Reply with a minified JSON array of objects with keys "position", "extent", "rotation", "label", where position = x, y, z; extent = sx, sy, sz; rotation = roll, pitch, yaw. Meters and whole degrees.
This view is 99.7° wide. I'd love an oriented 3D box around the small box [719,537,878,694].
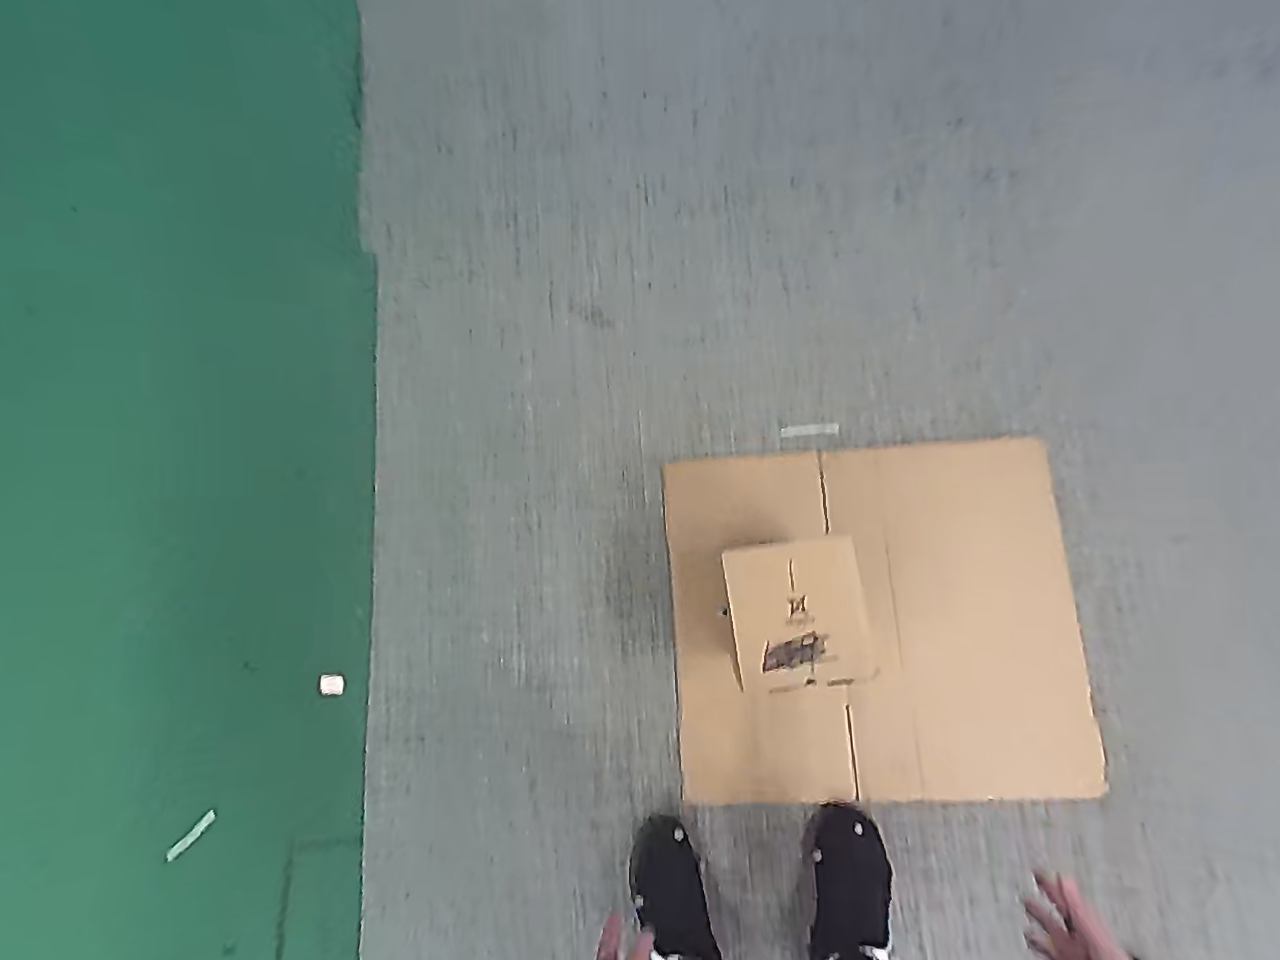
[{"position":[0.203,0.178,0.740],"extent":[0.168,0.176,0.179],"rotation":[-8,79,5],"label":"small box"}]
